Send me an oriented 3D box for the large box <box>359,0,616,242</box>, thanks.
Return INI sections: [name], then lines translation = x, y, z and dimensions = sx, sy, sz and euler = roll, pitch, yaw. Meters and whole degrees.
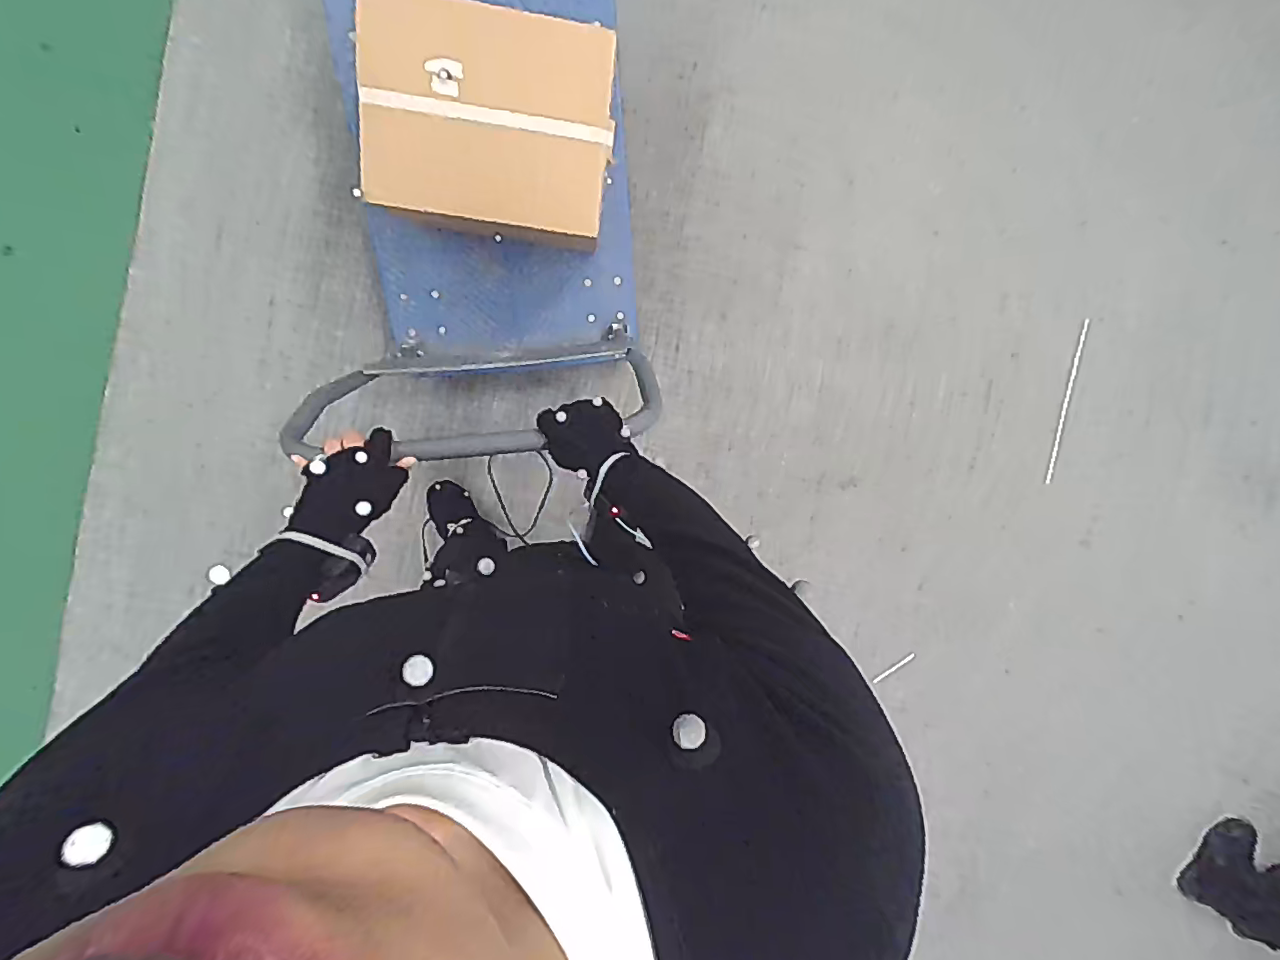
[large box]
translation = -0.262, -0.654, 1.033
dimensions = 0.408, 0.320, 0.320
euler = 6, 108, -7
